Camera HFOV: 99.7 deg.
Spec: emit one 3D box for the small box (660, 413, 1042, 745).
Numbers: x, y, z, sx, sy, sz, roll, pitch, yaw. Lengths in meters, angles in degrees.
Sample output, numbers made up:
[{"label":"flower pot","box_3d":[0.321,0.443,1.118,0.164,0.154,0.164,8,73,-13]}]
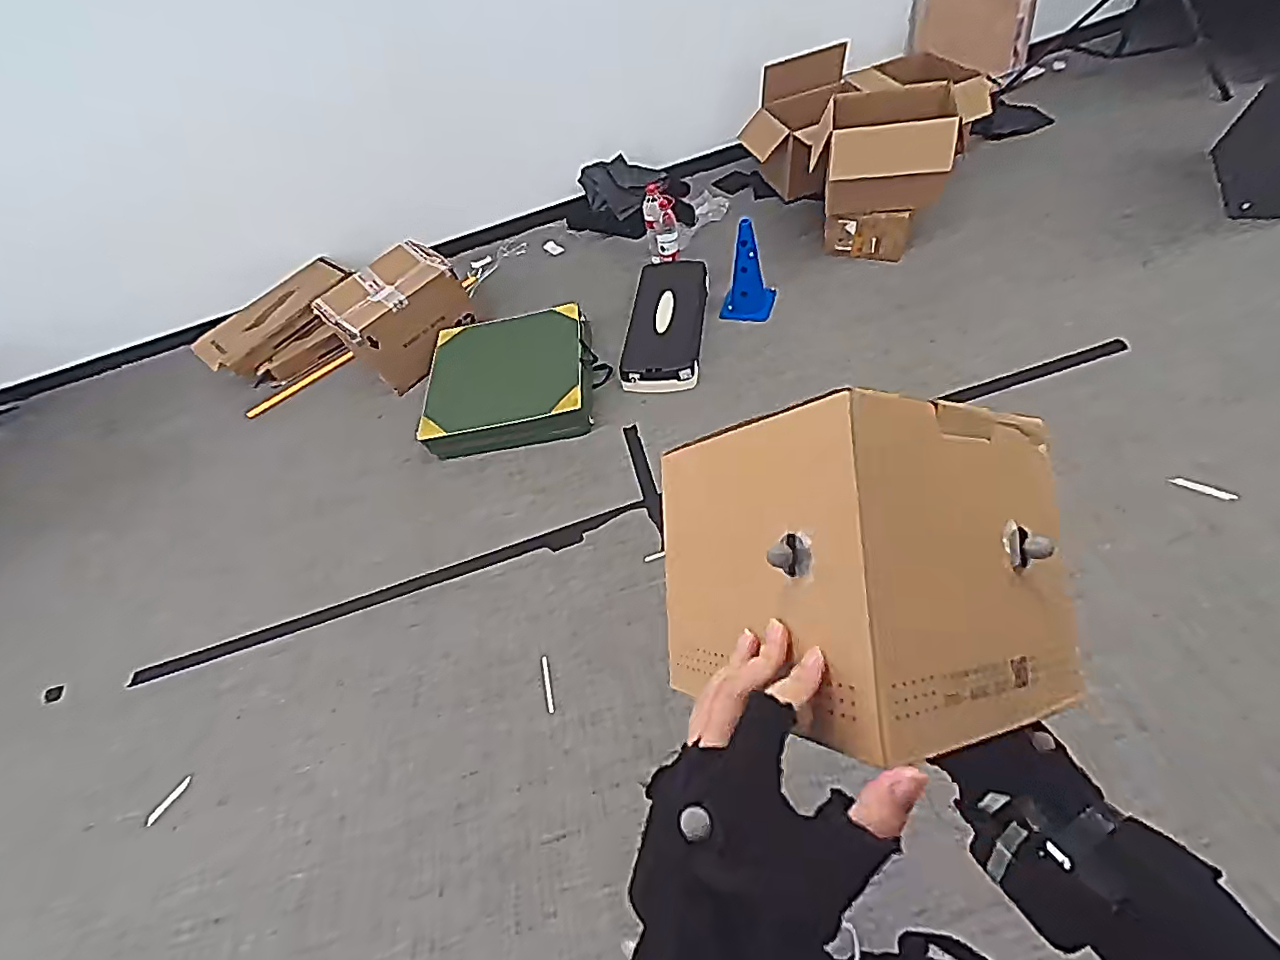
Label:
[{"label":"small box","box_3d":[0.128,0.062,0.361,0.168,0.179,0.176,2,81,-26]}]
